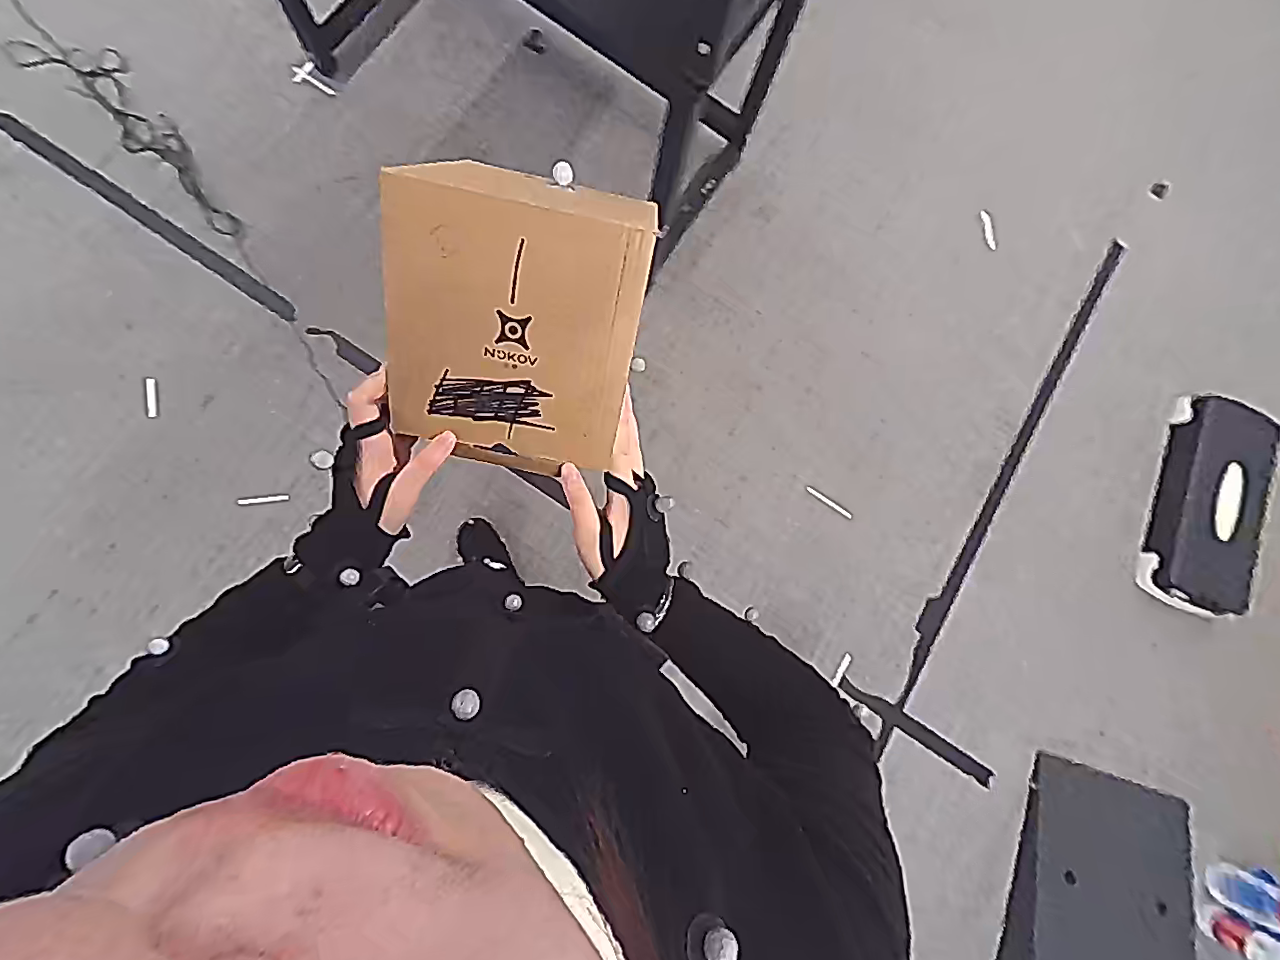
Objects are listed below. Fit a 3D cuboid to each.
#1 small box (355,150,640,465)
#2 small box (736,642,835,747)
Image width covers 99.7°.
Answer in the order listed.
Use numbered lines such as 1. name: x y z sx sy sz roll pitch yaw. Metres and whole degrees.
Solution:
1. small box: -0.094 -0.139 0.419 0.168 0.176 0.179 10 121 -5
2. small box: 0.369 0.552 1.417 0.168 0.176 0.179 33 80 -2
